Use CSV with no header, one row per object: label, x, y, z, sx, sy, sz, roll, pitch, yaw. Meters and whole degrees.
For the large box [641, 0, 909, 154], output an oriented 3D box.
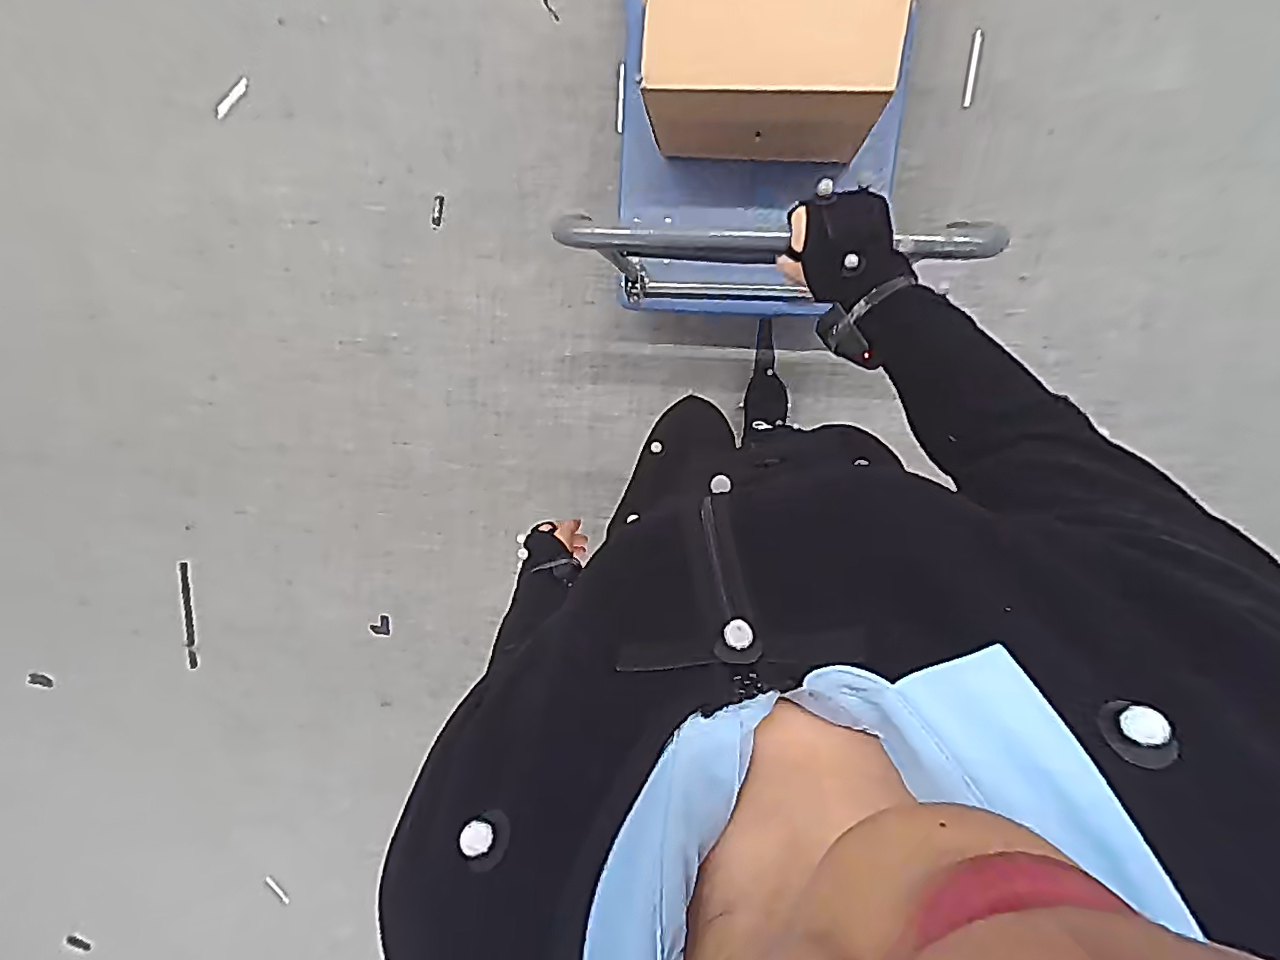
large box,0.233,-0.801,0.960,0.408,0.320,0.320,6,102,9
